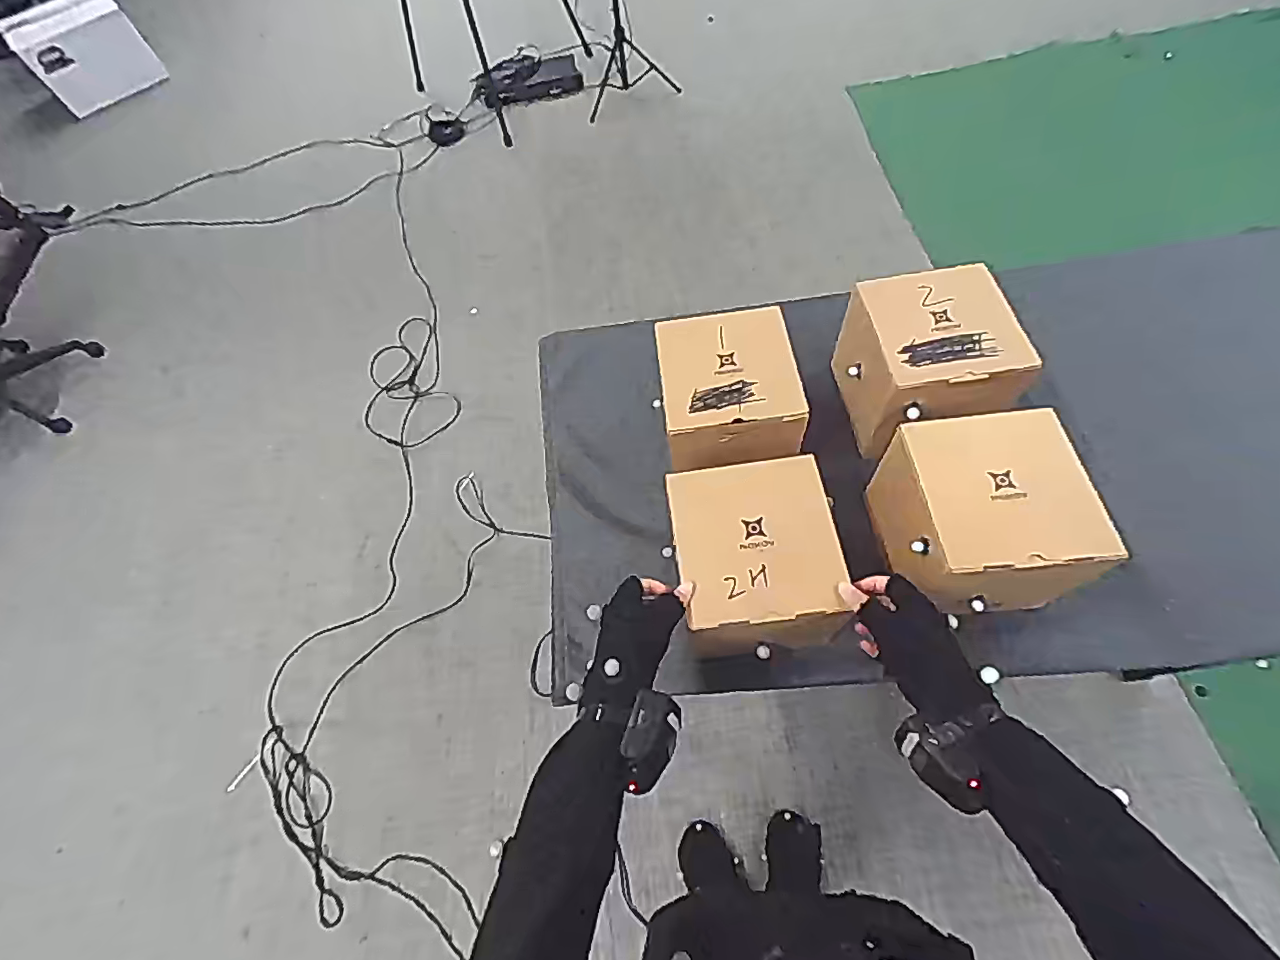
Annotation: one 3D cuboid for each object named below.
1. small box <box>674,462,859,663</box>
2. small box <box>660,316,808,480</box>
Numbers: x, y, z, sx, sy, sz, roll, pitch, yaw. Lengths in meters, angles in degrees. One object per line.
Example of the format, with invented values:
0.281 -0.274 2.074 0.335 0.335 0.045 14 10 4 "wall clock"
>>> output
0.133 0.103 0.634 0.168 0.176 0.179 -8 61 4 "small box"
0.122 -0.092 0.743 0.168 0.176 0.179 -7 60 4 "small box"
